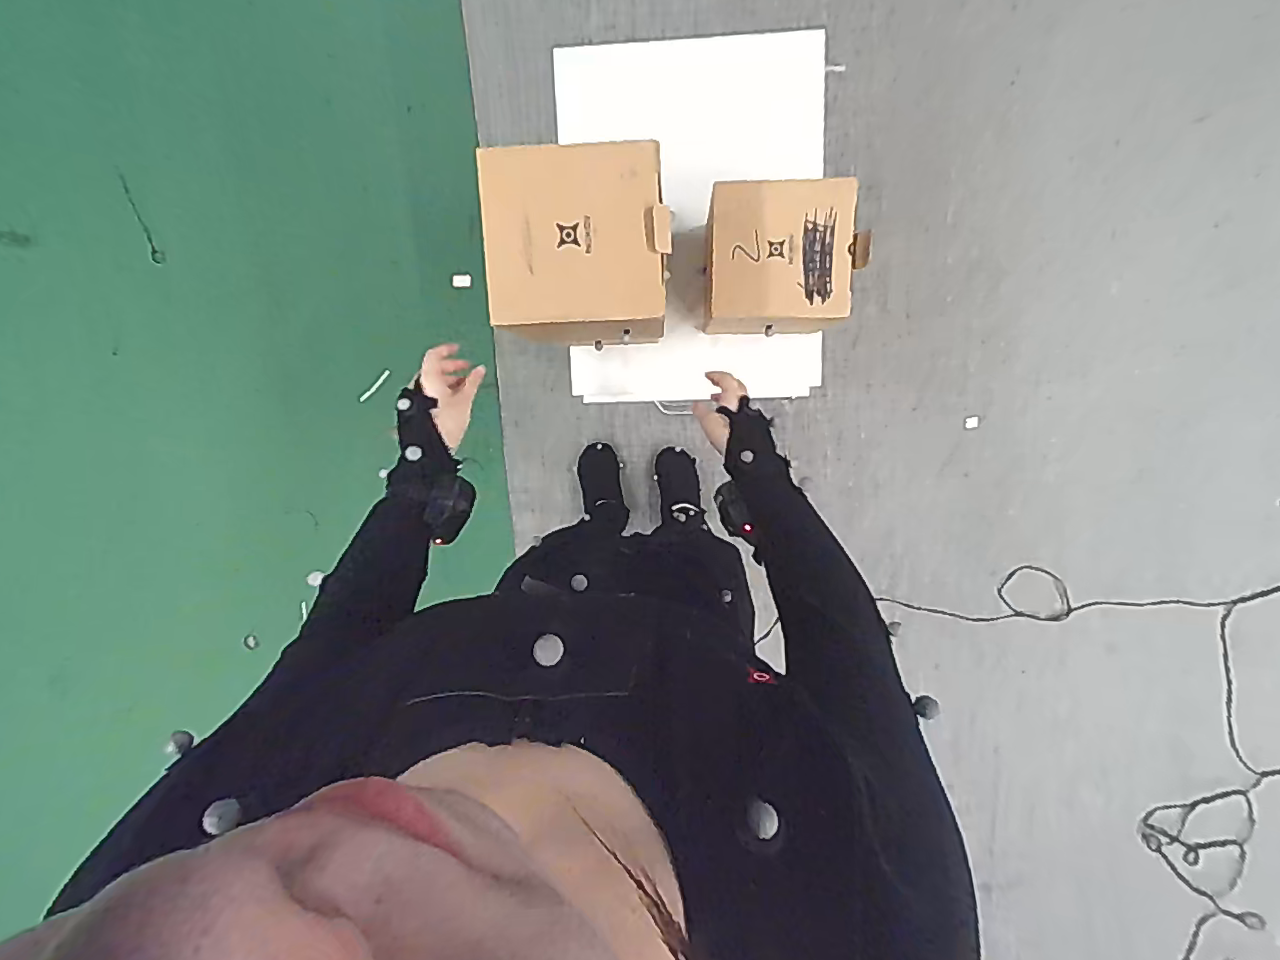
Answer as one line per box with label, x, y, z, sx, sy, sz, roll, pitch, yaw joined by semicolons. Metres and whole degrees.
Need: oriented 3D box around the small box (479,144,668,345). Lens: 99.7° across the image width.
small box;-0.062;-0.245;0.600;0.179;0.176;0.168;-2;97;2
